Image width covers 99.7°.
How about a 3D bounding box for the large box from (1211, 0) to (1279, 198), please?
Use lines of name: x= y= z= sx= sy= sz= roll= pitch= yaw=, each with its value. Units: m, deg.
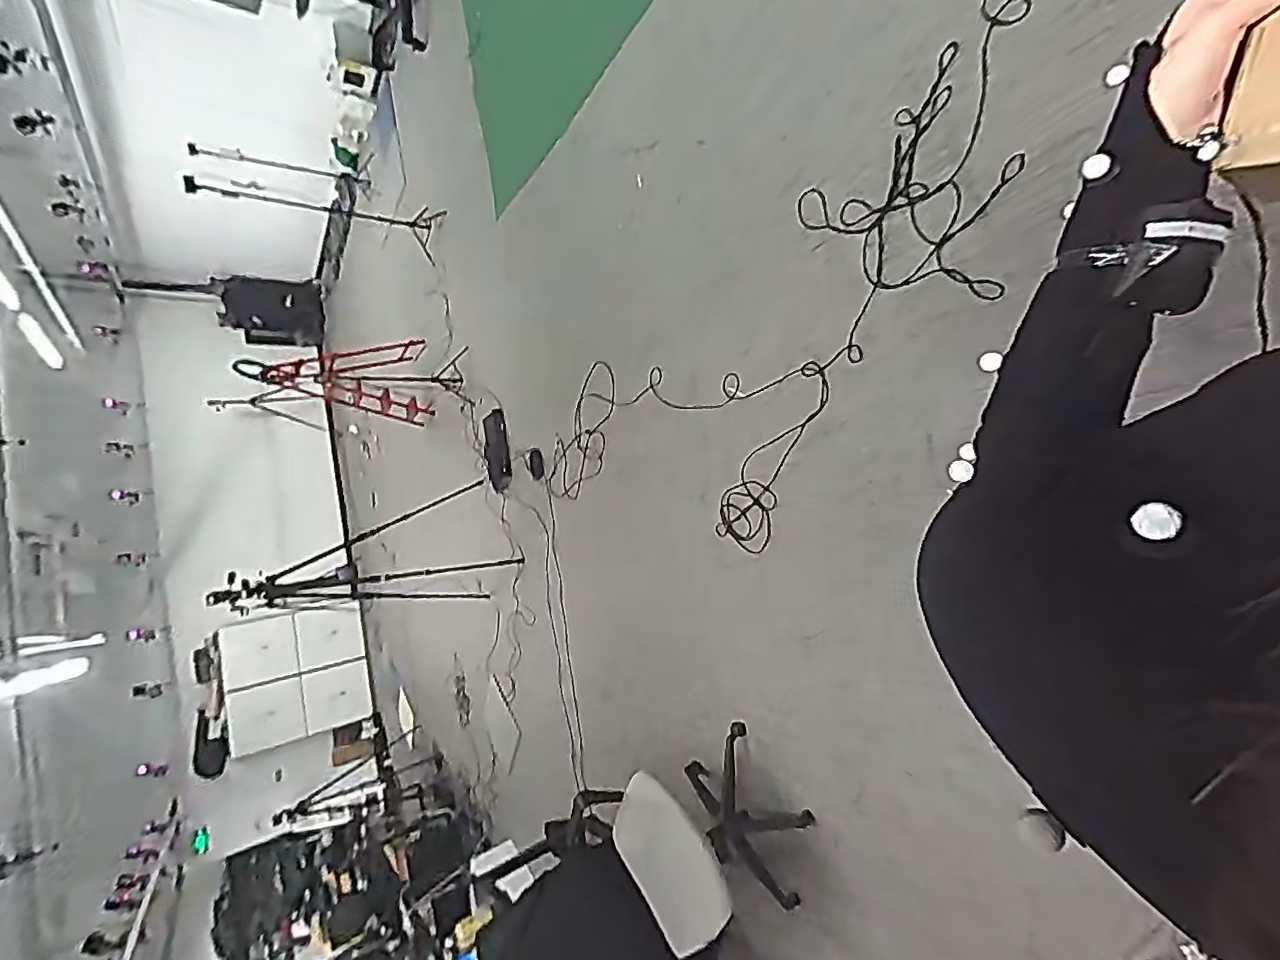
large box: x=0.631 y=-0.347 z=0.265 sx=0.408 sy=0.320 sz=0.320 roll=21 pitch=119 yaw=49
